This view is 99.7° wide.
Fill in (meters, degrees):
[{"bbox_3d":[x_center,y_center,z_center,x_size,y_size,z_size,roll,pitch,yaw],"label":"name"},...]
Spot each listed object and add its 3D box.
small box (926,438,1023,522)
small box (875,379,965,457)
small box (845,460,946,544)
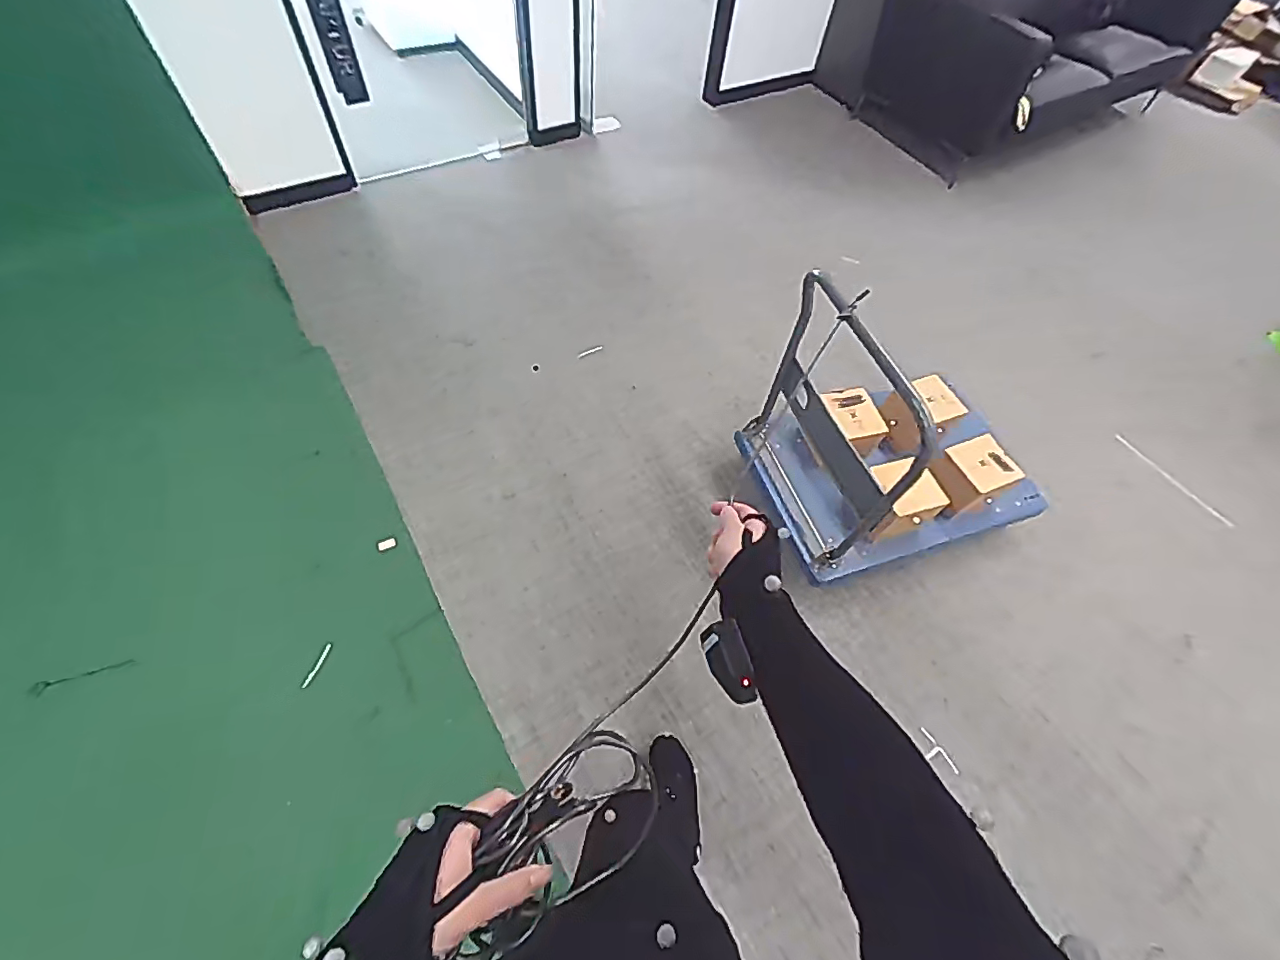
[{"bbox_3d":[0.995,0.004,1.646,0.179,0.176,0.168,-18,61,-14],"label":"small box"},{"bbox_3d":[0.898,-0.197,1.761,0.179,0.176,0.168,-17,62,-15],"label":"small box"},{"bbox_3d":[0.740,0.068,1.585,0.179,0.176,0.168,-13,61,-12],"label":"small box"}]
